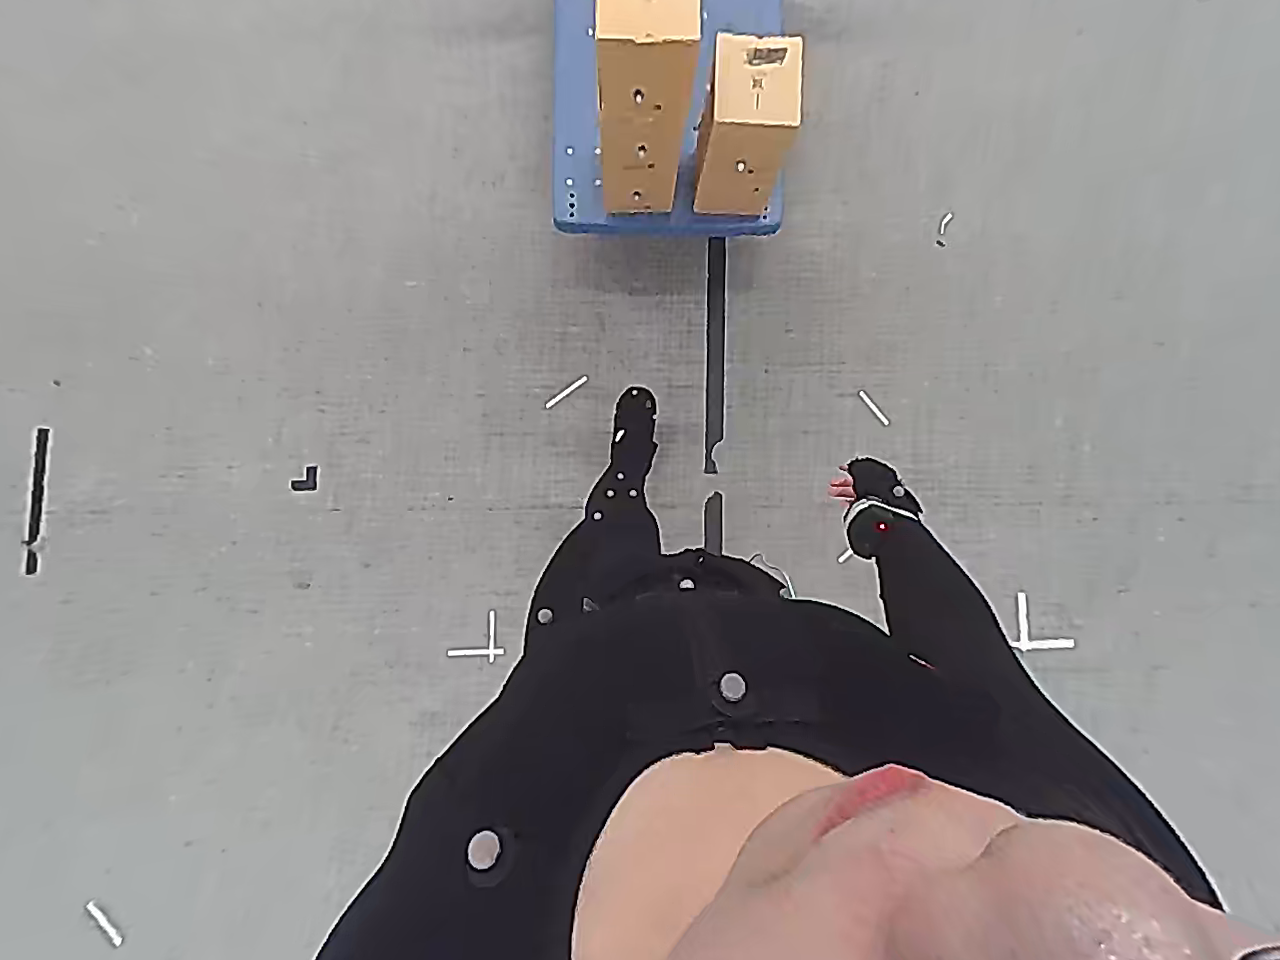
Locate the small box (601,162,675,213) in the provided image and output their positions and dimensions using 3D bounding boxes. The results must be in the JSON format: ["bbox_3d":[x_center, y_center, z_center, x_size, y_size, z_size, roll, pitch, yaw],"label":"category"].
[{"bbox_3d":[-0.006,-0.747,1.260,0.168,0.176,0.179,-1,87,-2],"label":"small box"}]

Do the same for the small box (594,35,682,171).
[{"bbox_3d":[-0.004,-0.753,1.096,0.168,0.176,0.179,-3,88,-2],"label":"small box"}]

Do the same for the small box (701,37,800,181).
[{"bbox_3d":[0.217,-0.746,1.100,0.168,0.176,0.179,2,88,-1],"label":"small box"}]

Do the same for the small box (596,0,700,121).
[{"bbox_3d":[0.009,-0.765,0.933,0.168,0.176,0.179,-1,87,-2],"label":"small box"}]
